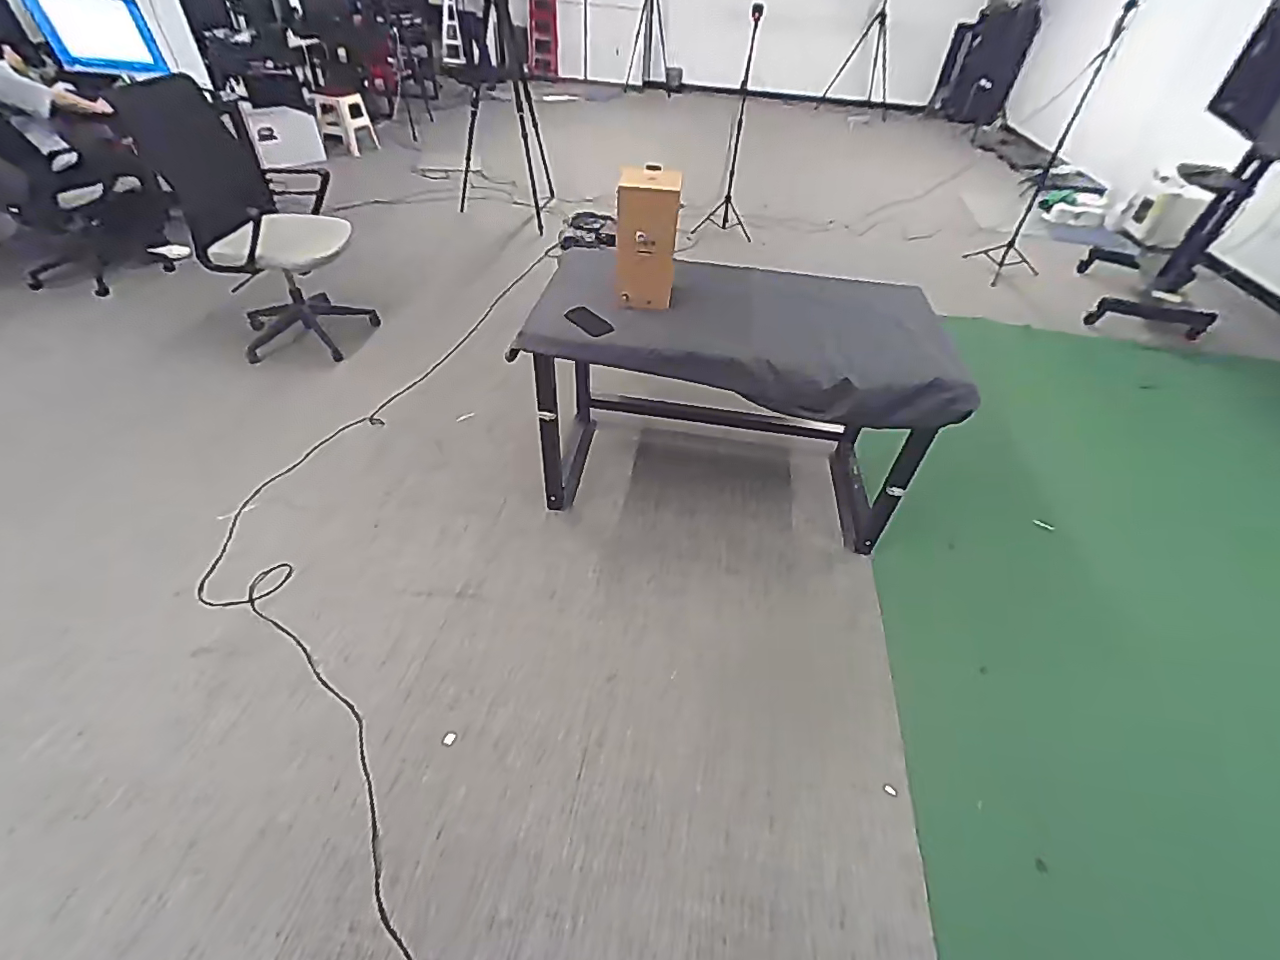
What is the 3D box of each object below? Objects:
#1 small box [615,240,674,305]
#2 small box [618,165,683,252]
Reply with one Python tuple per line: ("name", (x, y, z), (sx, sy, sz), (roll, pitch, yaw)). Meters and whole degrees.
("small box", (0.015, -0.641, 1.620), (0.168, 0.176, 0.179), (6, 43, 1))
("small box", (0.028, -0.756, 1.507), (0.168, 0.176, 0.179), (5, 45, 1))
